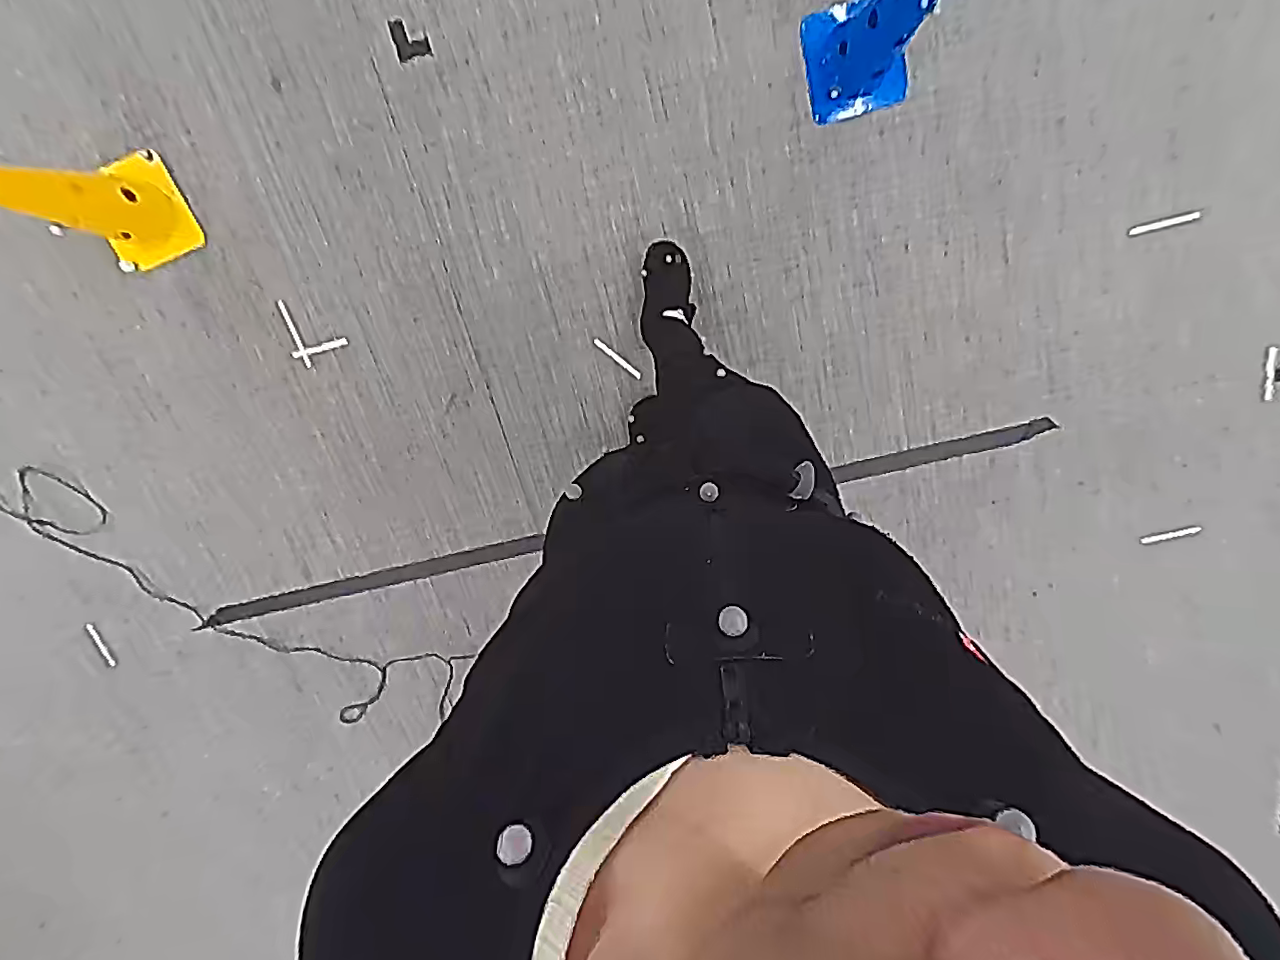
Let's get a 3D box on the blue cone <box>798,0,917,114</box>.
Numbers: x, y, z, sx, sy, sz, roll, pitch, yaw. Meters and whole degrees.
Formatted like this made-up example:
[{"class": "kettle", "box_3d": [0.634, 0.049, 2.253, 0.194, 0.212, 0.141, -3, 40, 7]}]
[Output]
[{"class": "blue cone", "box_3d": [0.429, -0.820, 0.944, 0.193, 0.380, 0.192, -13, 106, 3]}]
